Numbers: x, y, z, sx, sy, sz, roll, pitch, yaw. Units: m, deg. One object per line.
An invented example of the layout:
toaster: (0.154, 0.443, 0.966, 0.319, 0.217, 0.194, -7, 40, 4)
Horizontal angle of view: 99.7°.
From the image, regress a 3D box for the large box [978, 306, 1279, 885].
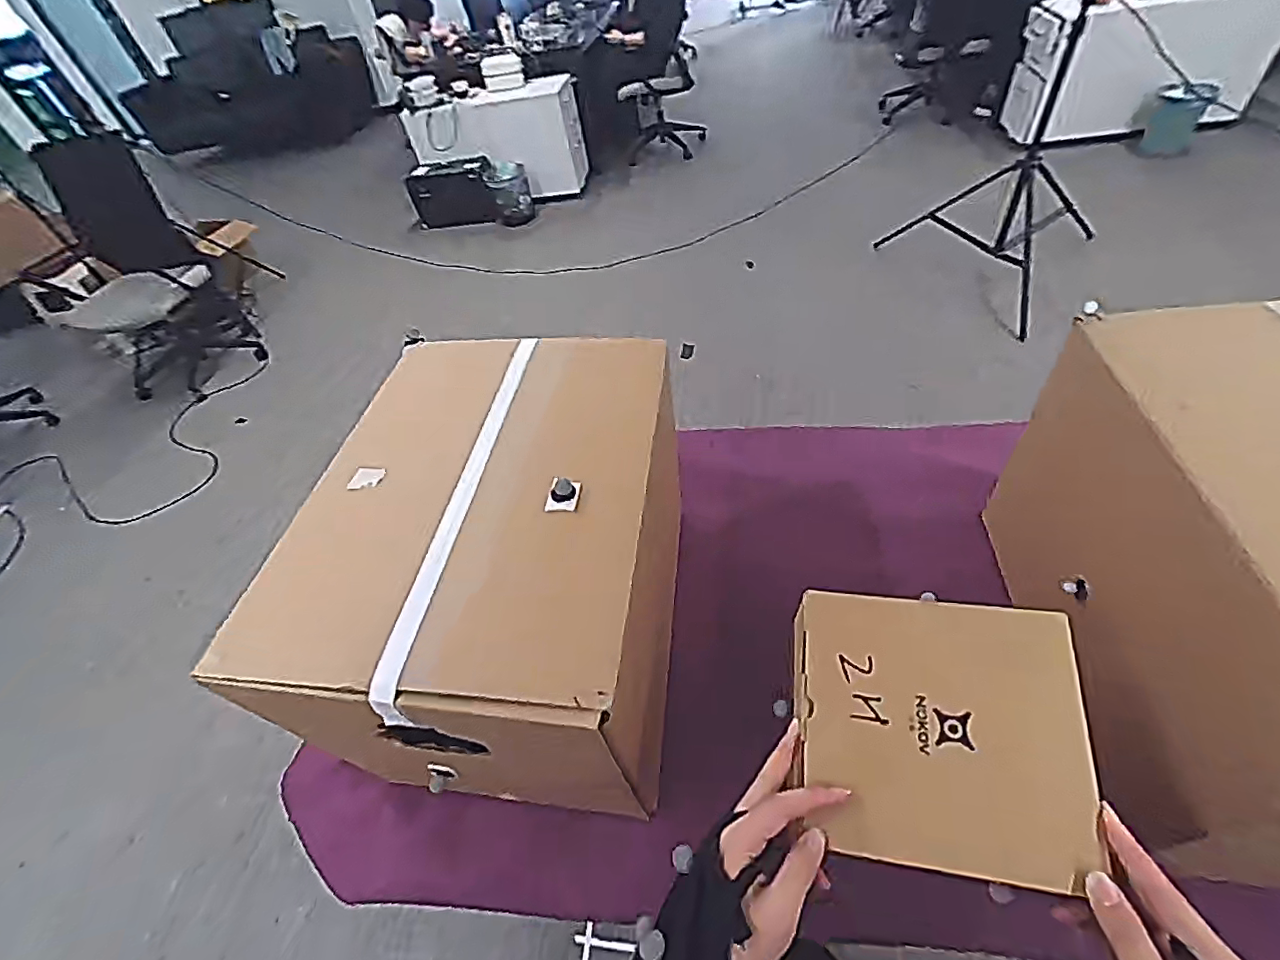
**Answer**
large box: (0.561, 0.094, 0.472, 0.320, 0.320, 0.408, 0, 47, 10)
